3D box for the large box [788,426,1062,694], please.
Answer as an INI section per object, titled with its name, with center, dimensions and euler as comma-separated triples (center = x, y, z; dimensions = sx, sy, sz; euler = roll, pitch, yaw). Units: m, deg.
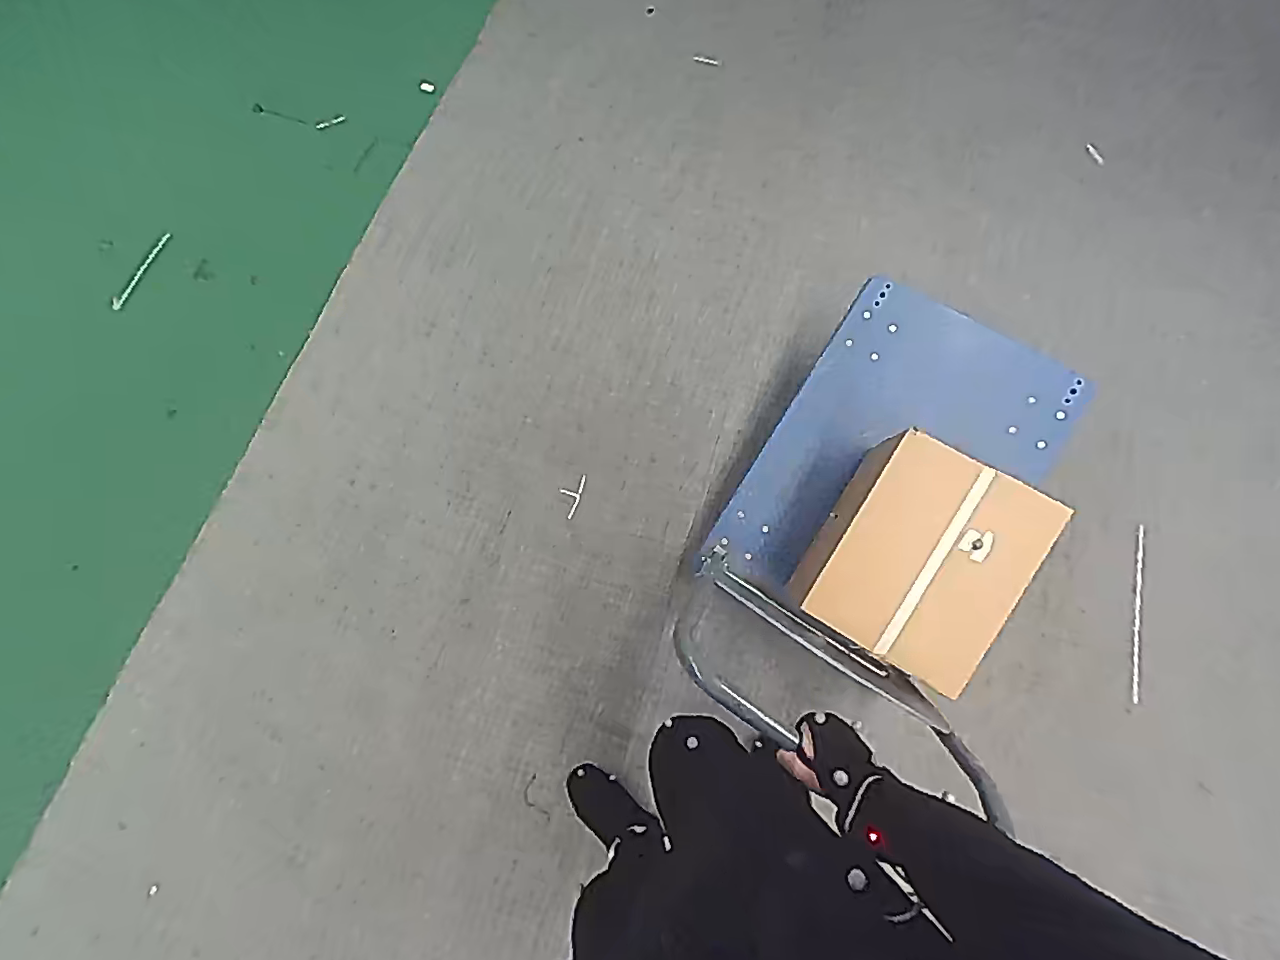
[large box]
center = 0.554, 0.155, 1.141
dimensions = 0.320, 0.320, 0.408
euler = 31, 92, 10
